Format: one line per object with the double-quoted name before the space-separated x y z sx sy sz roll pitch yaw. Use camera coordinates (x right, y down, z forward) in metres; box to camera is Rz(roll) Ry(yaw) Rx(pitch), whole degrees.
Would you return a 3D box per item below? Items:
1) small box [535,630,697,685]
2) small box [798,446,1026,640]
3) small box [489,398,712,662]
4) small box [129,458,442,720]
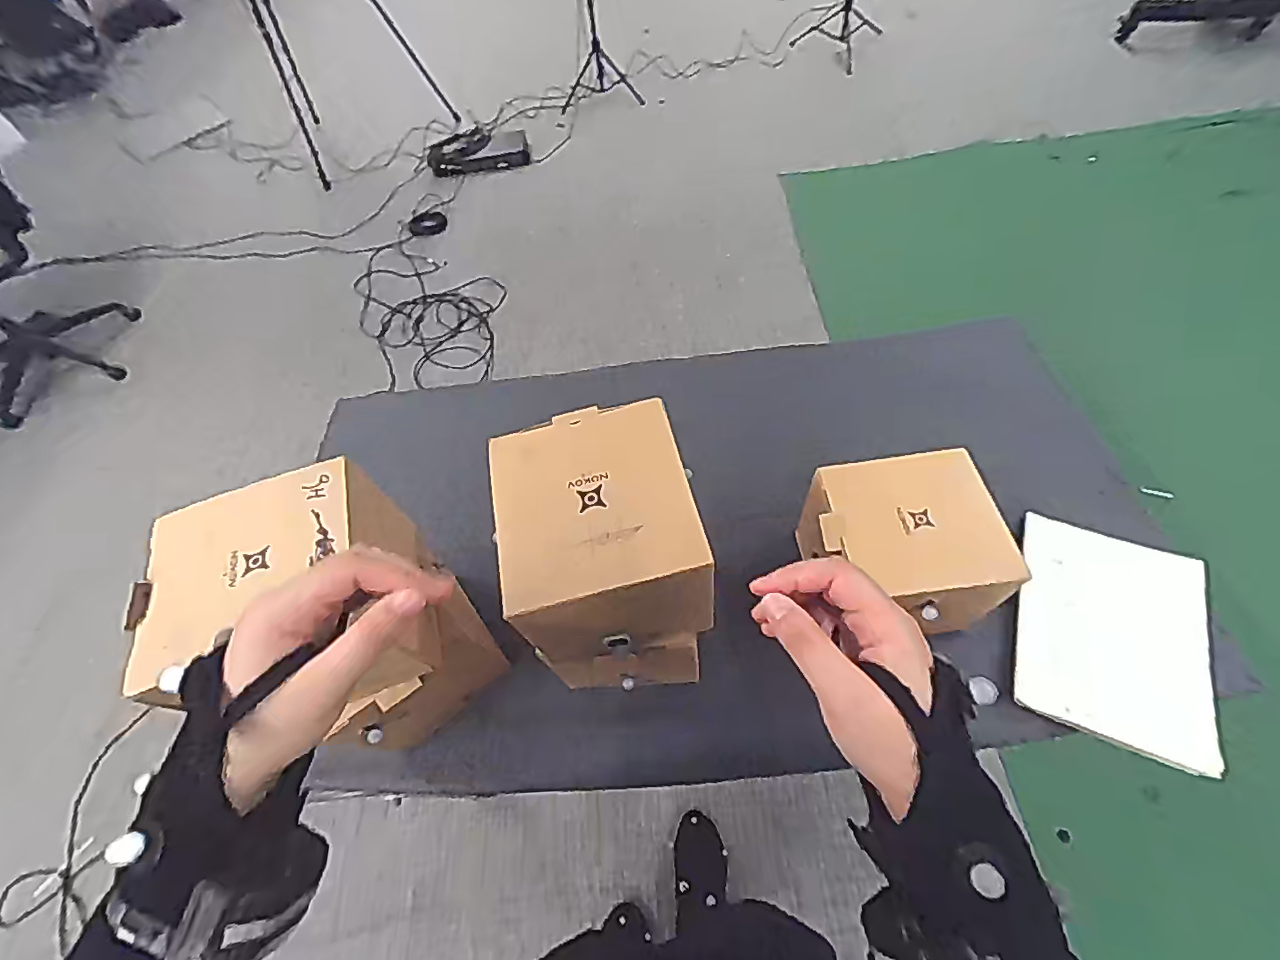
"small box" -0.021 0.139 0.661 0.168 0.176 0.179 -6 58 5
"small box" 0.305 0.082 0.654 0.179 0.176 0.168 -9 57 3
"small box" -0.034 0.054 0.522 0.168 0.176 0.179 -15 58 -1
"small box" -0.318 0.113 0.521 0.179 0.176 0.168 -20 58 -4
